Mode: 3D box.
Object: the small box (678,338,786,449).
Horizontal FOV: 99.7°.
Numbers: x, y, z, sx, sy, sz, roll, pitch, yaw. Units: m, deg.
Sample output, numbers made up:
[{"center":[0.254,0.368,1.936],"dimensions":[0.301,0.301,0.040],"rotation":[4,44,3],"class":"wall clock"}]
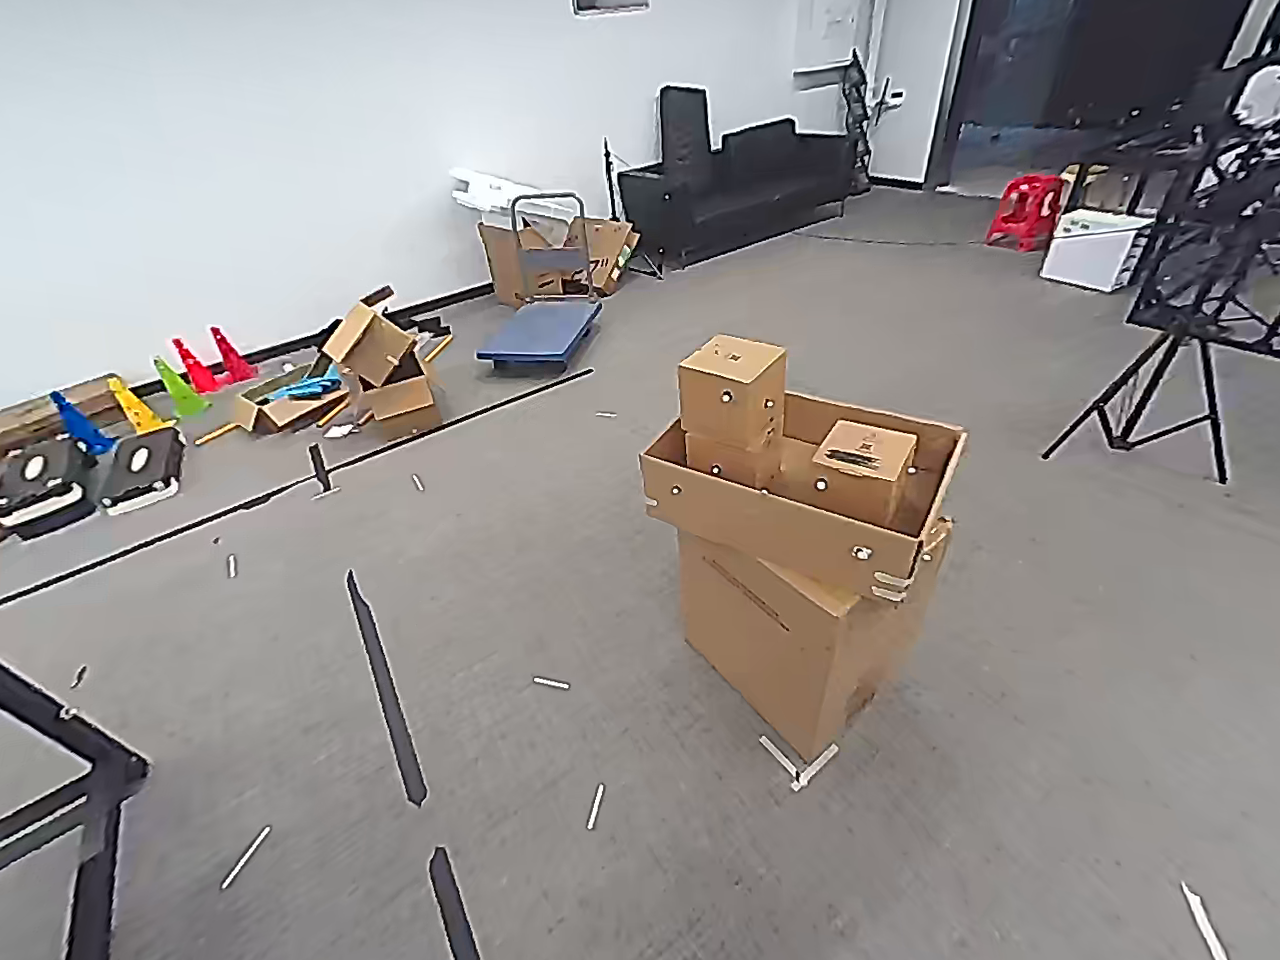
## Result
[{"center":[0.205,-0.190,1.200],"dimensions":[0.179,0.176,0.168],"rotation":[22,47,33],"class":"small box"}]
